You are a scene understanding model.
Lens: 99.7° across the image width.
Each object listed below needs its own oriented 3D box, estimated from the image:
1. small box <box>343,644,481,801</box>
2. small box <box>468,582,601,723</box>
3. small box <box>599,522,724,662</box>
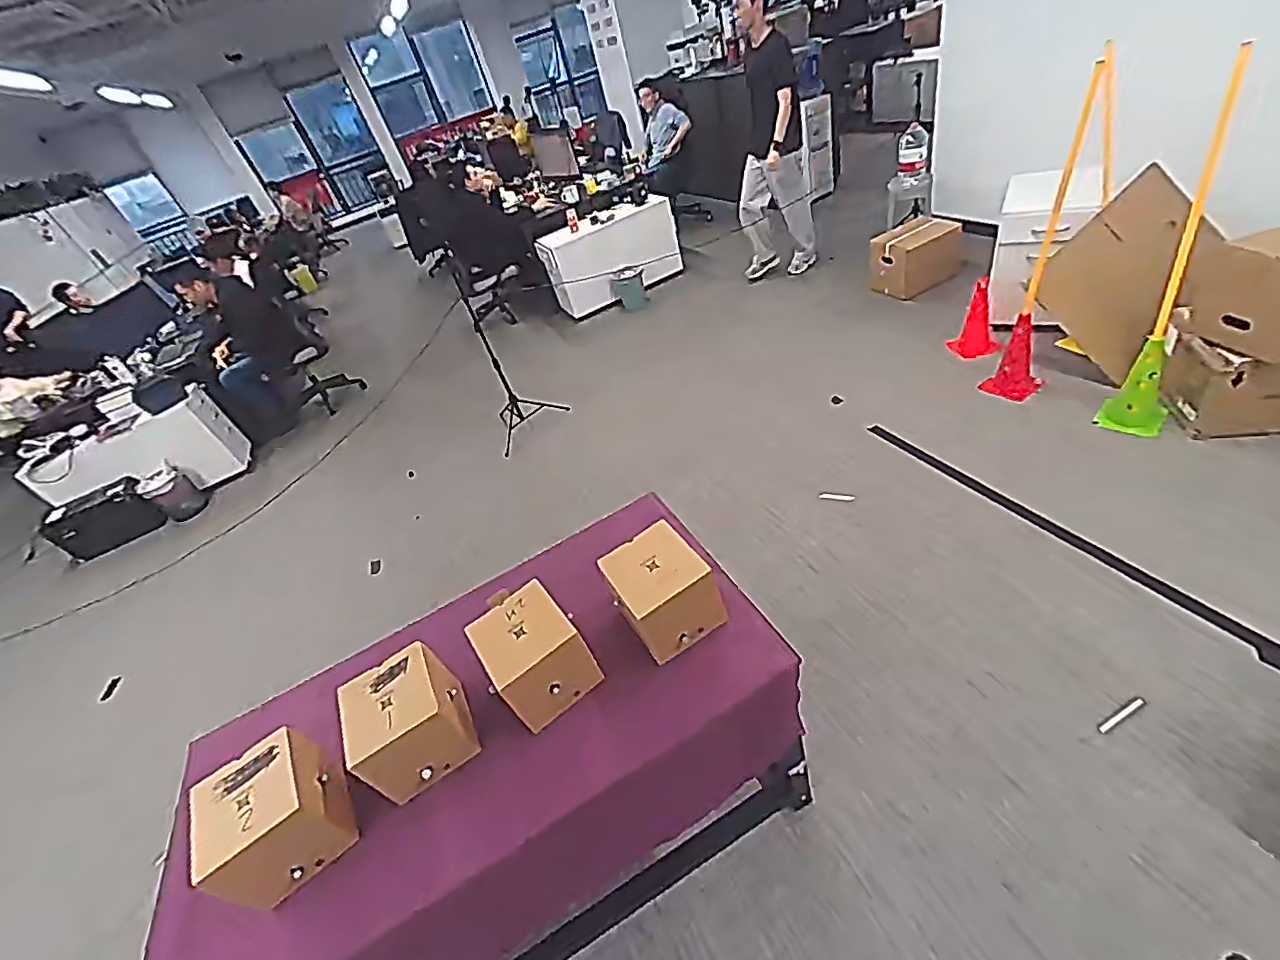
[{"bbox_3d":[-0.424,0.453,1.013,0.168,0.176,0.179,-31,41,-14],"label":"small box"},{"bbox_3d":[-0.200,0.340,1.051,0.168,0.176,0.179,-34,41,-18],"label":"small box"},{"bbox_3d":[0.045,0.224,1.084,0.168,0.176,0.179,-31,40,-13],"label":"small box"}]
